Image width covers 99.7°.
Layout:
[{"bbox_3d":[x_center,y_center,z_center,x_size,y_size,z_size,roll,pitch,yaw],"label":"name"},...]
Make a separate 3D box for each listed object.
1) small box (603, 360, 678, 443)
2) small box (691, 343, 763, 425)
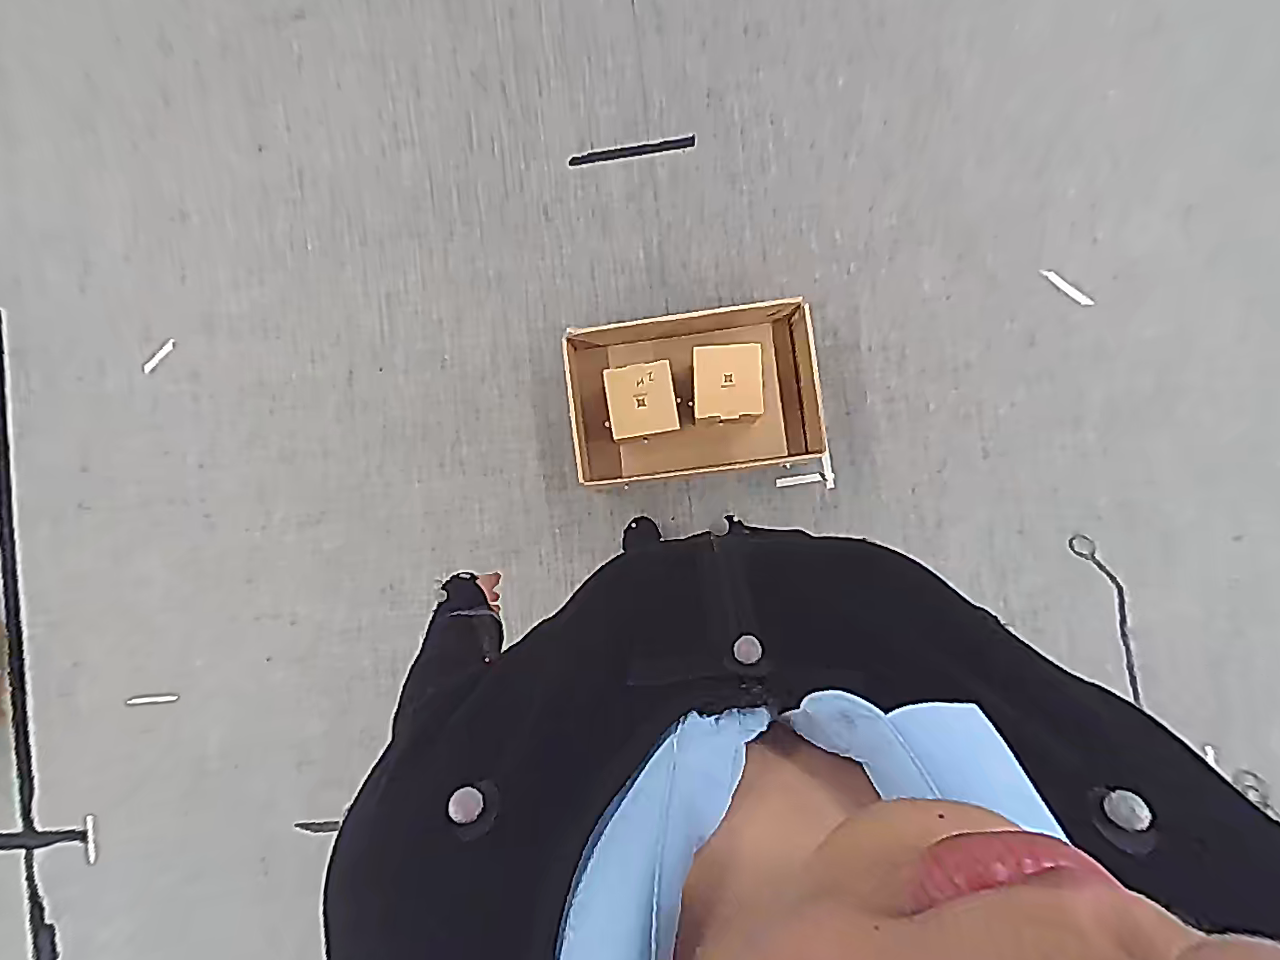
[{"bbox_3d":[0.005,-0.194,1.393,0.168,0.176,0.179,-9,88,1],"label":"small box"},{"bbox_3d":[0.218,-0.240,1.384,0.168,0.176,0.179,-2,89,4],"label":"small box"}]
